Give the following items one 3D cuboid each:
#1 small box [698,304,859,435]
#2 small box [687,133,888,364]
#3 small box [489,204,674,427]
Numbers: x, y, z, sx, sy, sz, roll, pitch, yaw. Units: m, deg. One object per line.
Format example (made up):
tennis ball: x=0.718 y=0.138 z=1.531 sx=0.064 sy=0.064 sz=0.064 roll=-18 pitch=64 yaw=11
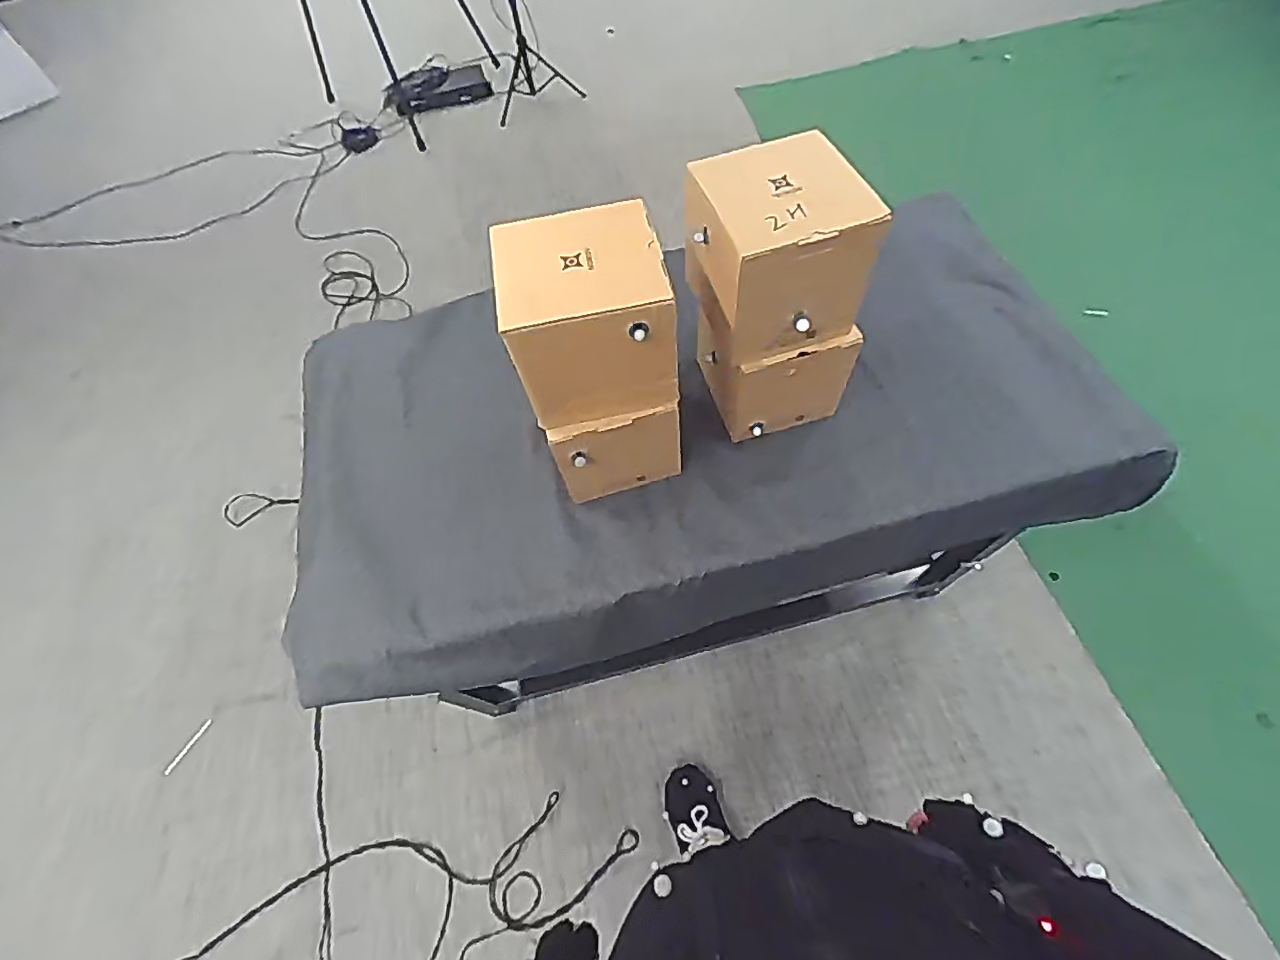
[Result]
small box: x=0.189 y=-0.185 z=0.791 sx=0.168 sy=0.176 sz=0.179 roll=-16 pitch=60 yaw=-3
small box: x=0.158 y=-0.273 z=0.655 sx=0.168 sy=0.176 sz=0.179 roll=-17 pitch=62 yaw=-4
small box: x=-0.062 y=-0.181 z=0.628 sx=0.179 sy=0.176 sz=0.168 roll=-12 pitch=60 yaw=-2
